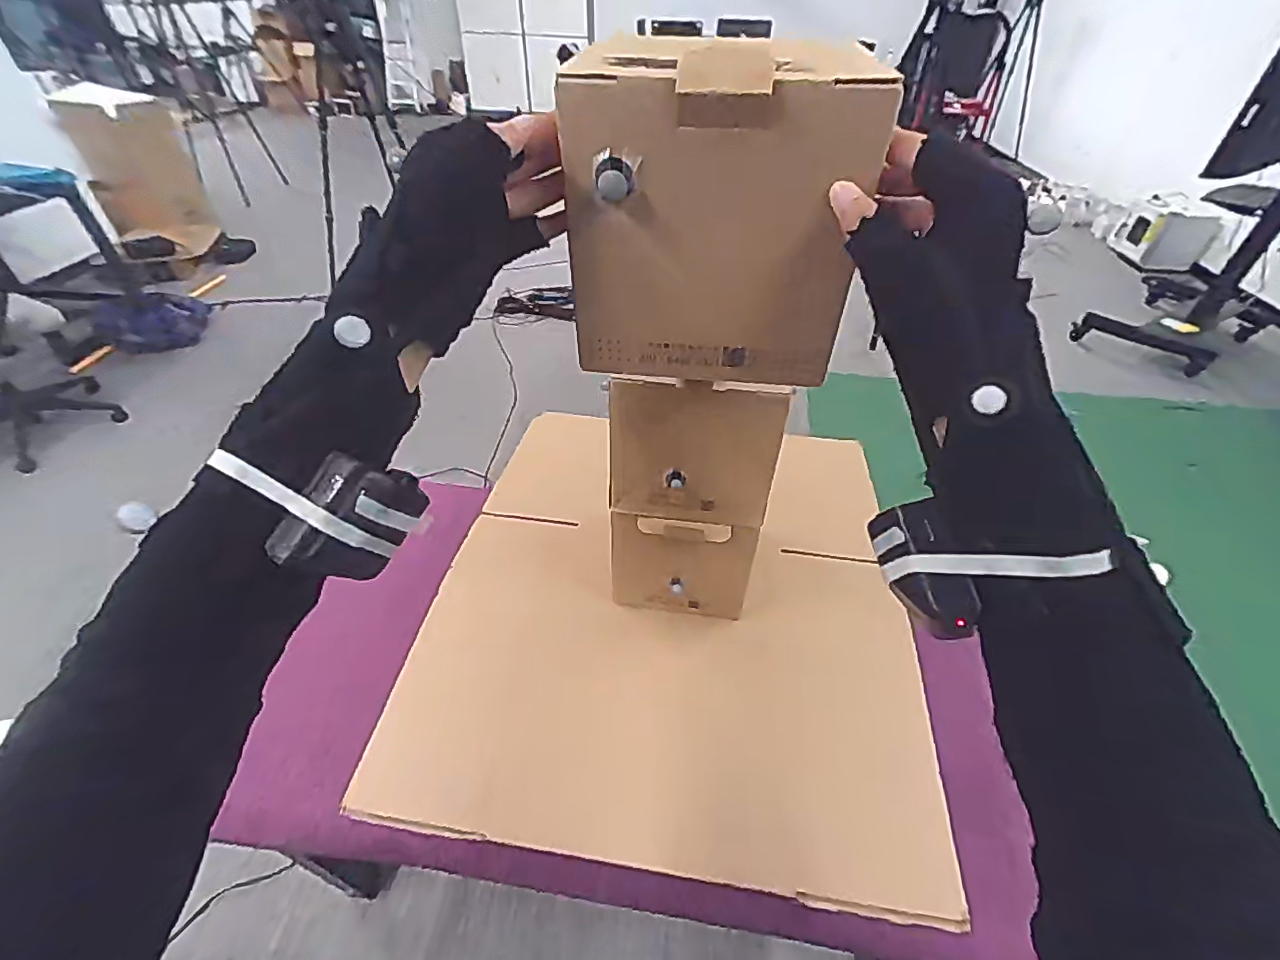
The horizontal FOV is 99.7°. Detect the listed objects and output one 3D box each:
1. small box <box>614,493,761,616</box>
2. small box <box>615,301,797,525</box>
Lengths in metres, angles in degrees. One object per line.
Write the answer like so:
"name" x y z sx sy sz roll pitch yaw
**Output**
"small box" 0.061 0.048 0.703 0.168 0.176 0.179 7 41 6
"small box" 0.066 -0.076 0.597 0.168 0.176 0.179 7 41 4
